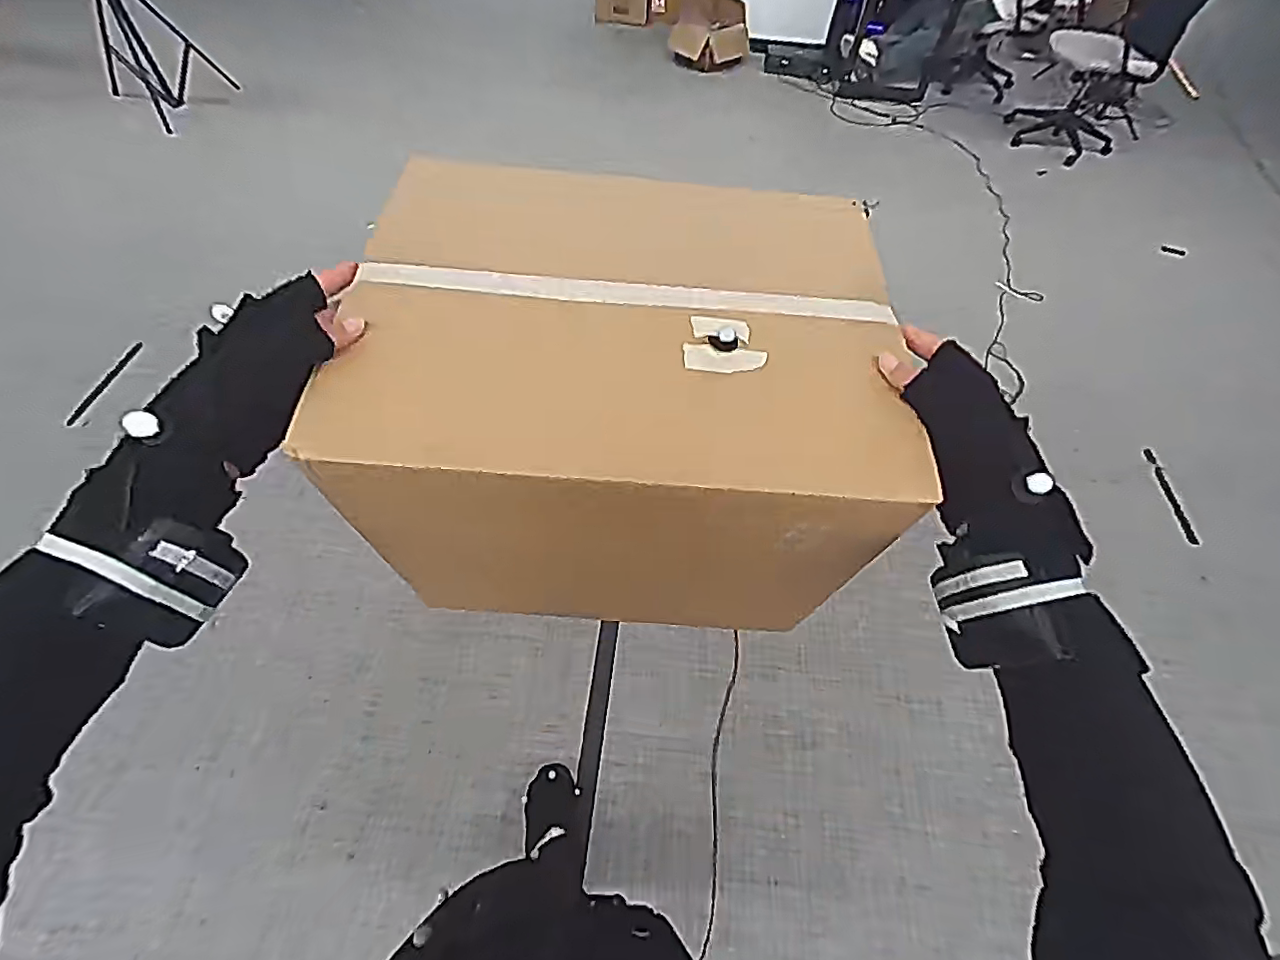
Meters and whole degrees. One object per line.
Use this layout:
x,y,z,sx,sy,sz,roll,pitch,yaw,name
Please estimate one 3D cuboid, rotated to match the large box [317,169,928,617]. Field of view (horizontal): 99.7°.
-0.014,-0.061,0.547,0.408,0.320,0.320,5,60,-3,large box
